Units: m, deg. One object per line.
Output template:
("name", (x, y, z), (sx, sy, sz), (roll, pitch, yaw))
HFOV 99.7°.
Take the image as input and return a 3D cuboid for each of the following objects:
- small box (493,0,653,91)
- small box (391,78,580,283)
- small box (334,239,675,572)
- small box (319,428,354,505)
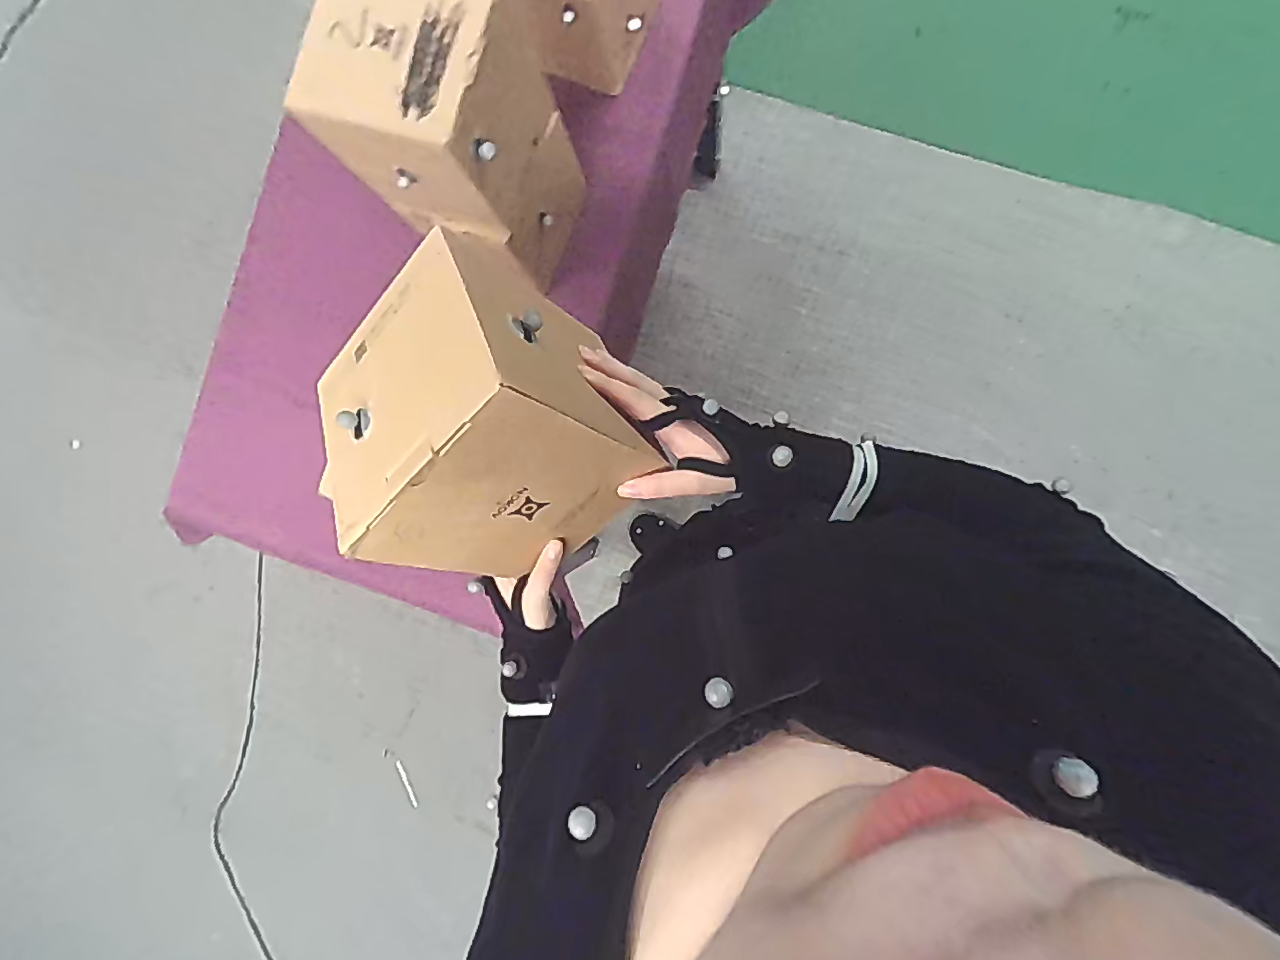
("small box", (-0.096, -0.684, 0.741), (0.179, 0.176, 0.168), (23, 91, 6))
("small box", (-0.197, -0.389, 0.743), (0.168, 0.176, 0.179), (22, 92, 7))
("small box", (-0.109, -0.053, 0.420), (0.168, 0.179, 0.176), (-39, 57, 19))
("small box", (-0.286, -0.035, 0.743), (0.168, 0.176, 0.179), (21, 90, 7))
